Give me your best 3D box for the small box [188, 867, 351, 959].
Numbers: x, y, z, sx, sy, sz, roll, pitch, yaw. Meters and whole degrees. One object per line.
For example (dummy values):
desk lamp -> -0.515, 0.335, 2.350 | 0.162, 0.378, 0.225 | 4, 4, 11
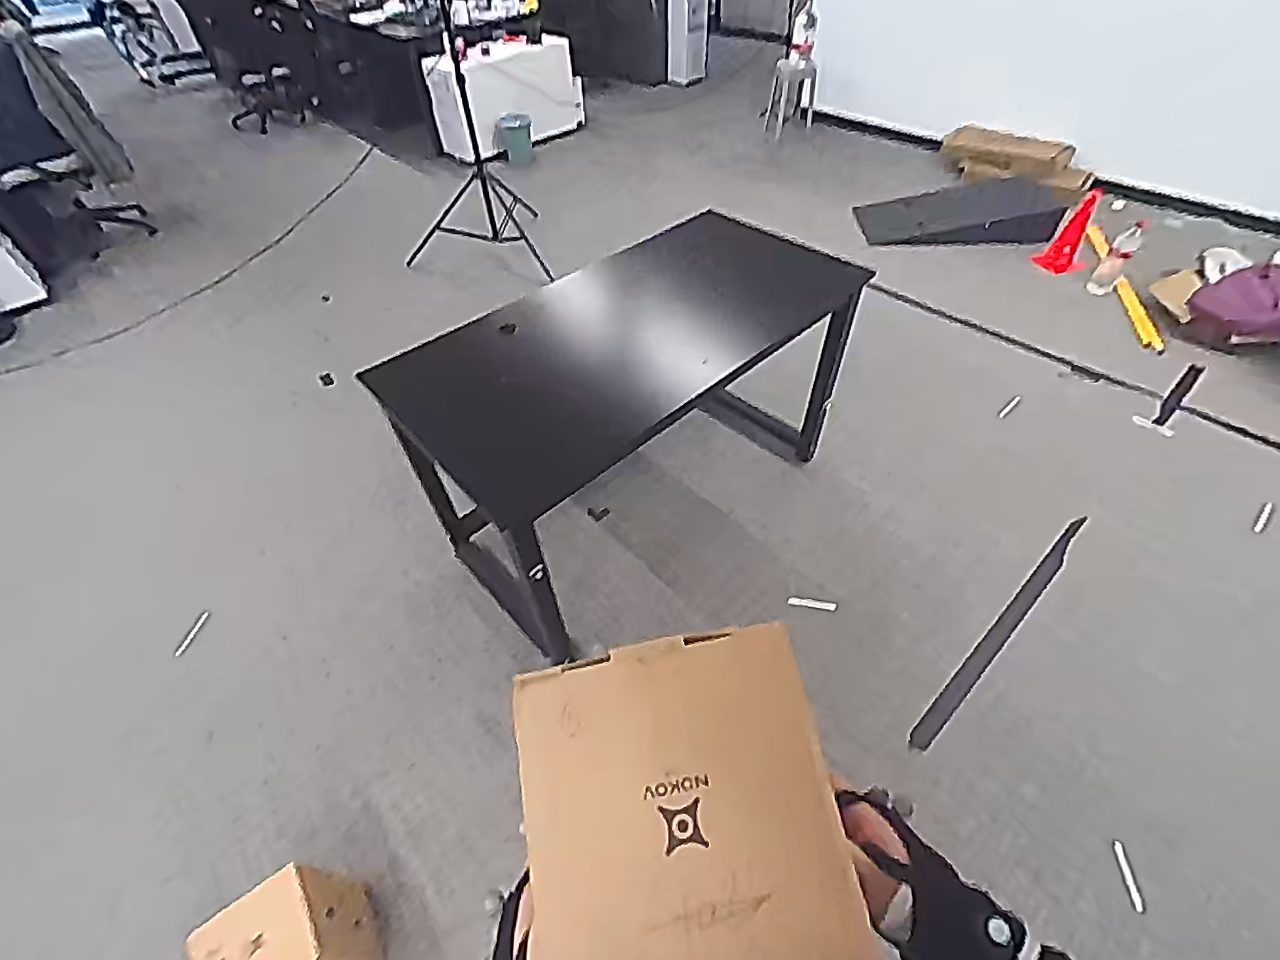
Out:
small box -> -0.637, 0.831, 0.951 | 0.179, 0.176, 0.168 | -31, 53, -22

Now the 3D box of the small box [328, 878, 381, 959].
small box -> -0.643, 0.942, 1.073 | 0.168, 0.176, 0.179 | -28, 53, -20

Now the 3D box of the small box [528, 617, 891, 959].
small box -> 0.031, 0.207, 0.366 | 0.168, 0.176, 0.179 | -12, 68, -2
